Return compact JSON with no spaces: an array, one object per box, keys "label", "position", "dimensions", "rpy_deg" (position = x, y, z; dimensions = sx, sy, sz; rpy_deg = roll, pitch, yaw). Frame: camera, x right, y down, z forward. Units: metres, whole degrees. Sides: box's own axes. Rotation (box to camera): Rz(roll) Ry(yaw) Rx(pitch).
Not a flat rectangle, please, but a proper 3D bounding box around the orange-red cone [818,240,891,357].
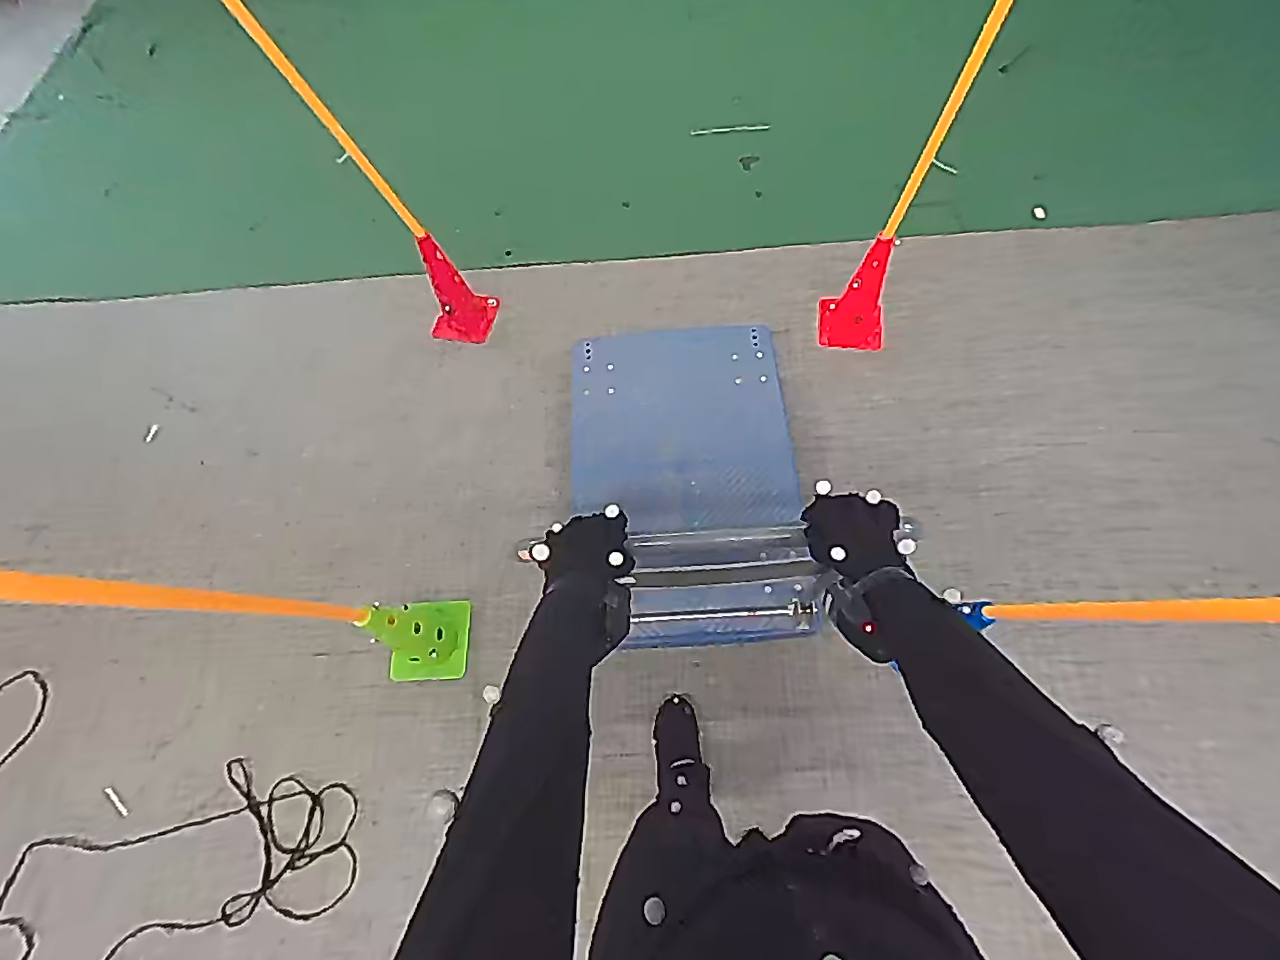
[{"label":"orange-red cone","position":[0.668,-0.554,1.603],"dimensions":[0.198,0.360,0.199],"rpy_deg":[7,67,8]}]
